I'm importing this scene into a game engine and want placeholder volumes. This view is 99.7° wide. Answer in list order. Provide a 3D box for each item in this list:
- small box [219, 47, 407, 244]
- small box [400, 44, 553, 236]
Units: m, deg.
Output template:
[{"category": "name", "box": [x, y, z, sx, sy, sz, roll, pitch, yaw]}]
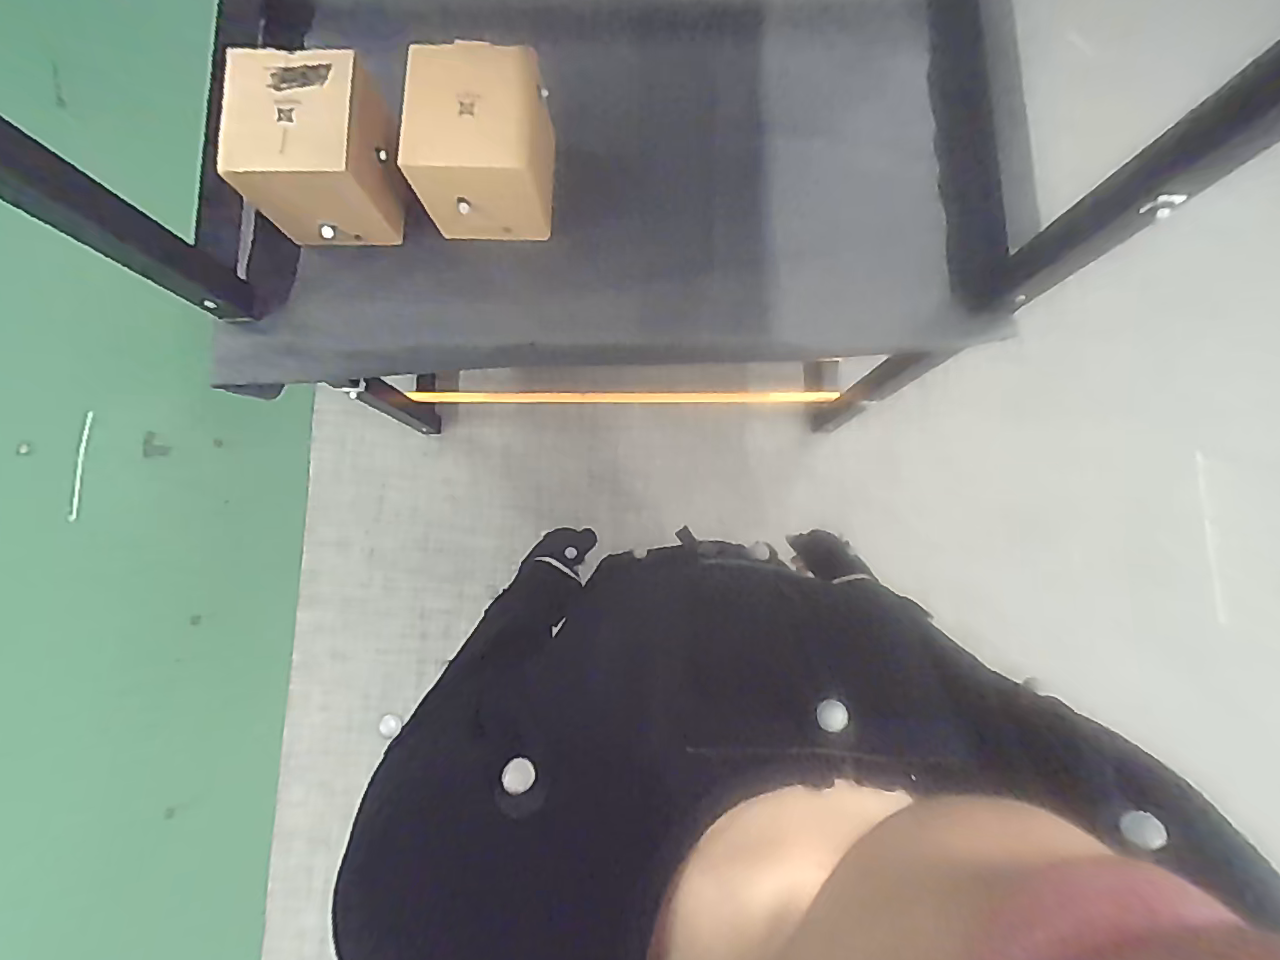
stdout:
[{"category": "small box", "box": [-0.449, -0.466, 0.772, 0.168, 0.176, 0.179, 0, 83, 0]}, {"category": "small box", "box": [-0.222, -0.473, 0.775, 0.168, 0.176, 0.179, 1, 82, 0]}]
